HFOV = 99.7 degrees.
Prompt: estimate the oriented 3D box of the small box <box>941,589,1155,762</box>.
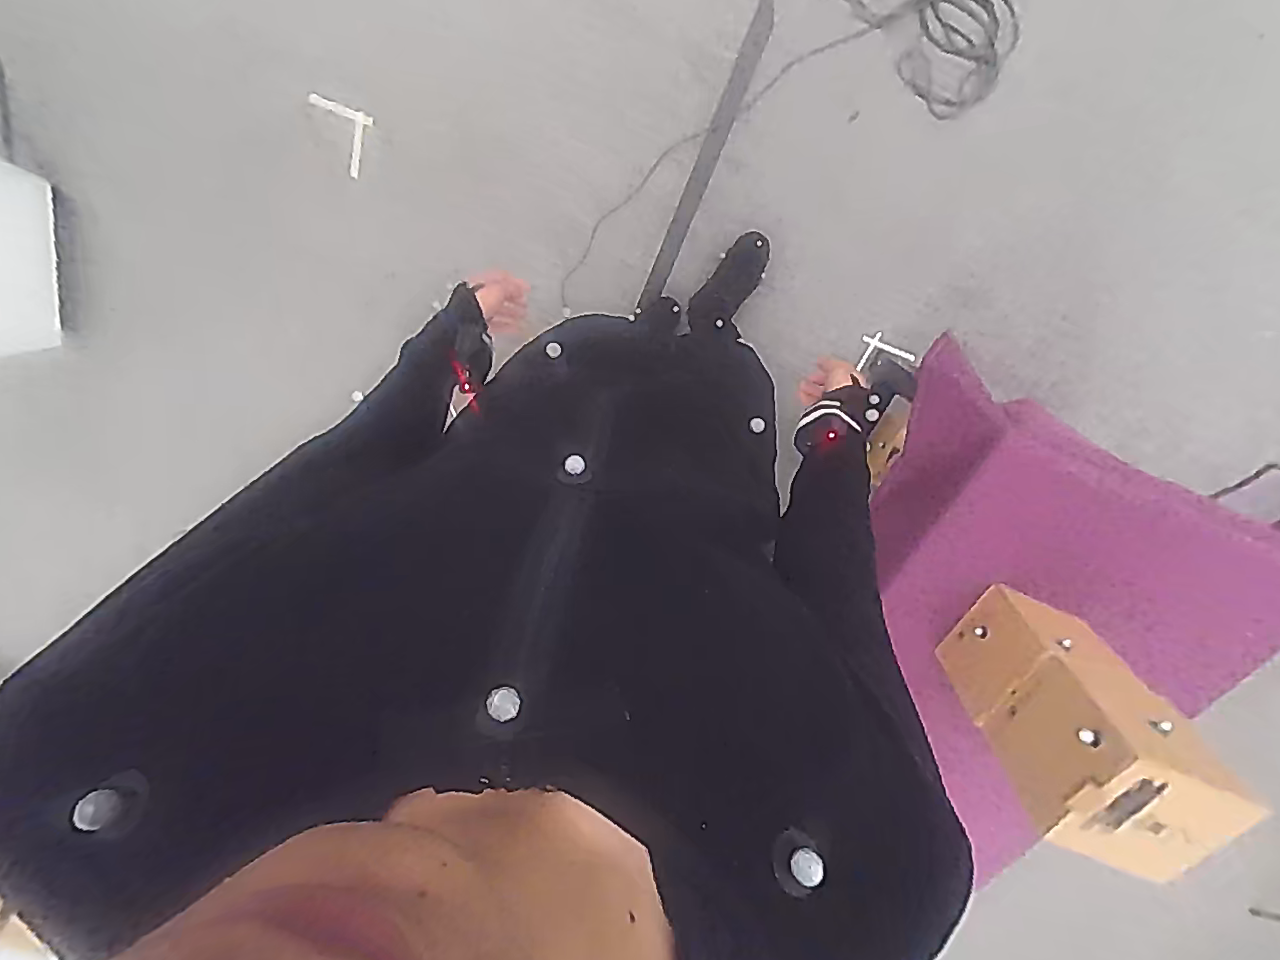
[{"bbox_3d":[0.630,0.303,0.864,0.179,0.176,0.168,23,116,-2],"label":"small box"}]
